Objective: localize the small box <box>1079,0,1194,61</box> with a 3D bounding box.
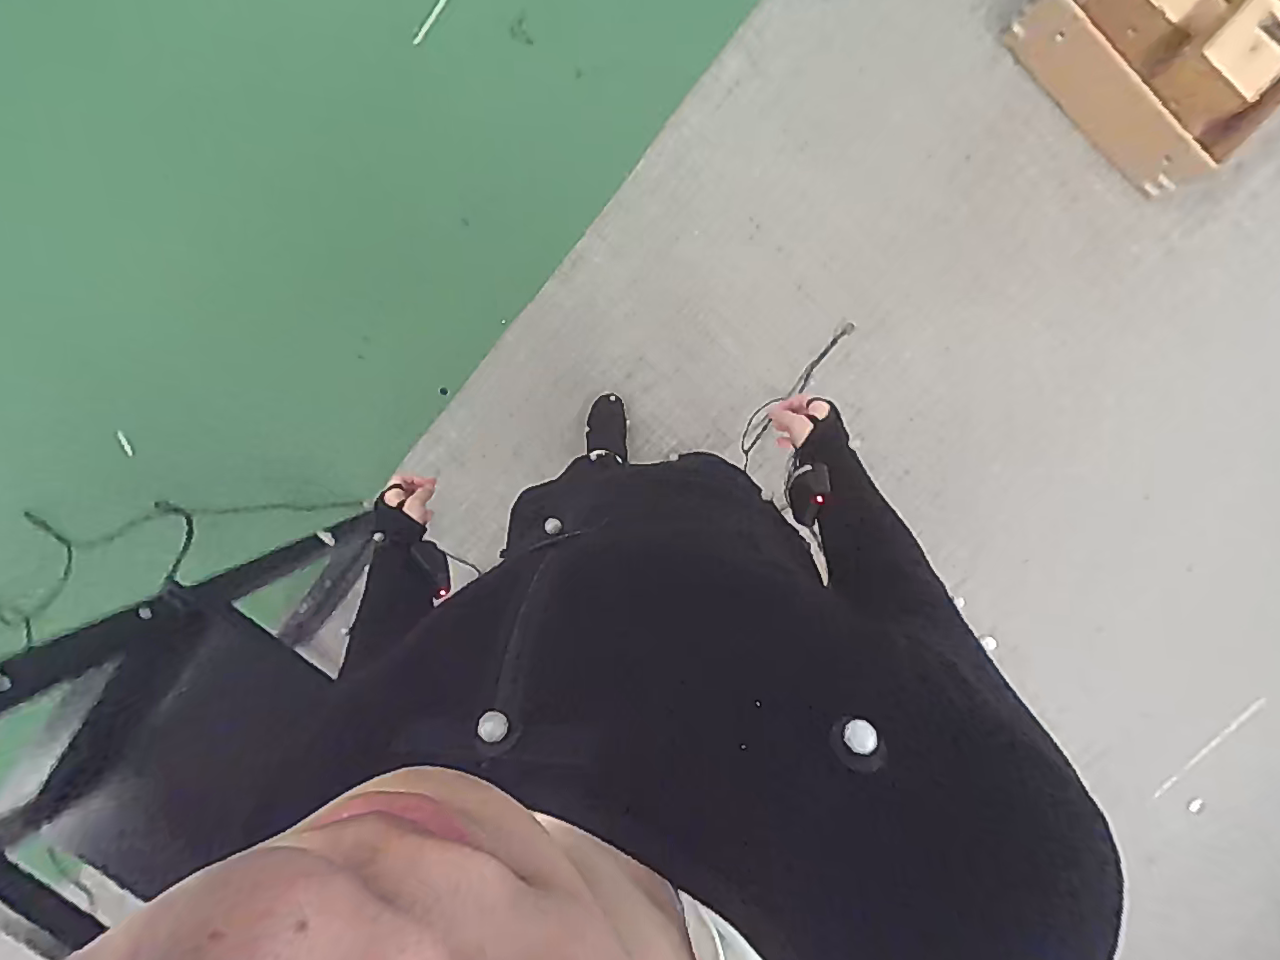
[{"bbox_3d":[1.198,-1.157,1.277,0.168,0.176,0.179,40,98,-7],"label":"small box"}]
